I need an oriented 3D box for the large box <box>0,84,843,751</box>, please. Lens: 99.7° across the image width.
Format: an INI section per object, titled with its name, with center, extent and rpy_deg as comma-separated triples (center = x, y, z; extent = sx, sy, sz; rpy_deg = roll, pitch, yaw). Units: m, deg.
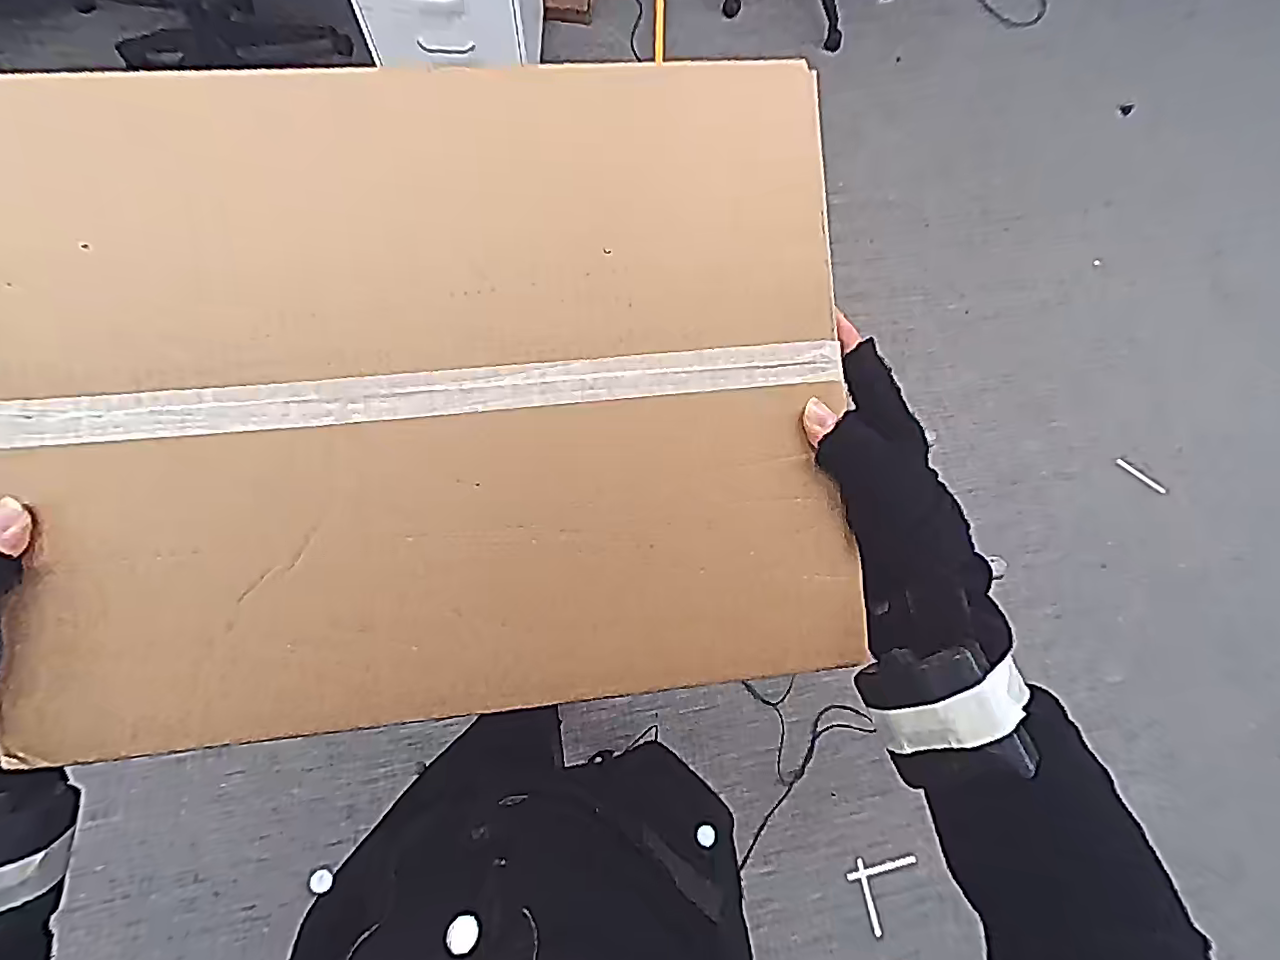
[large box]
center = -0.111, -0.042, 0.421
extent = 0.408, 0.320, 0.320
rpy_deg = -5, 90, -5
